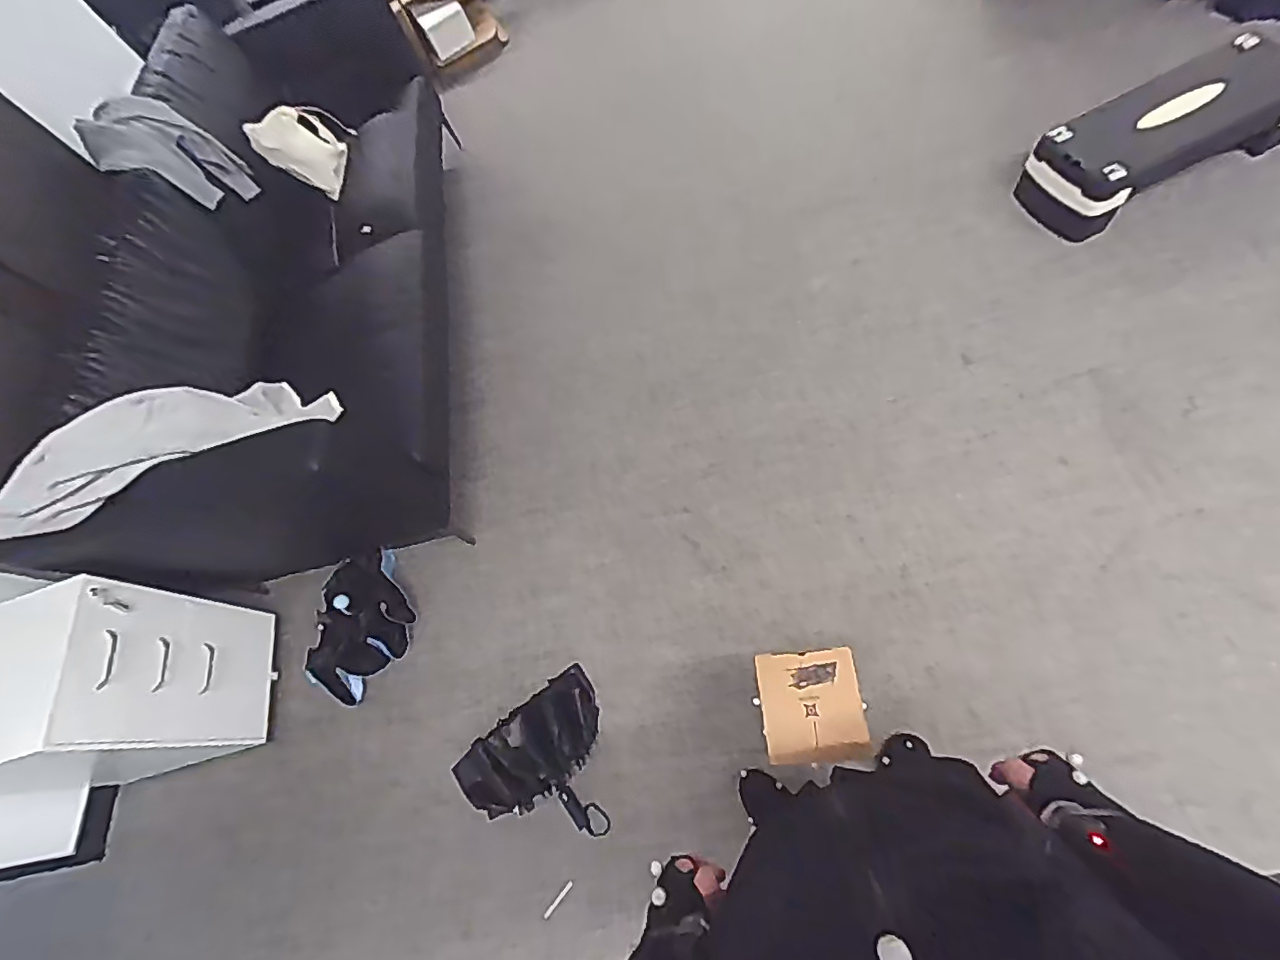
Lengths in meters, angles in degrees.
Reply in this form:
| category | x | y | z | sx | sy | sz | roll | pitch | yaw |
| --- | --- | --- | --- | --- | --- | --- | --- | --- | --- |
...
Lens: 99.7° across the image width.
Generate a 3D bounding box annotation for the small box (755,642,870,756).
| category | x | y | z | sx | sy | sz | roll | pitch | yaw |
| --- | --- | --- | --- | --- | --- | --- | --- | --- | --- |
| small box | 0.305 | 0.401 | 0.988 | 0.168 | 0.176 | 0.179 | -9 | 66 | 11 |
